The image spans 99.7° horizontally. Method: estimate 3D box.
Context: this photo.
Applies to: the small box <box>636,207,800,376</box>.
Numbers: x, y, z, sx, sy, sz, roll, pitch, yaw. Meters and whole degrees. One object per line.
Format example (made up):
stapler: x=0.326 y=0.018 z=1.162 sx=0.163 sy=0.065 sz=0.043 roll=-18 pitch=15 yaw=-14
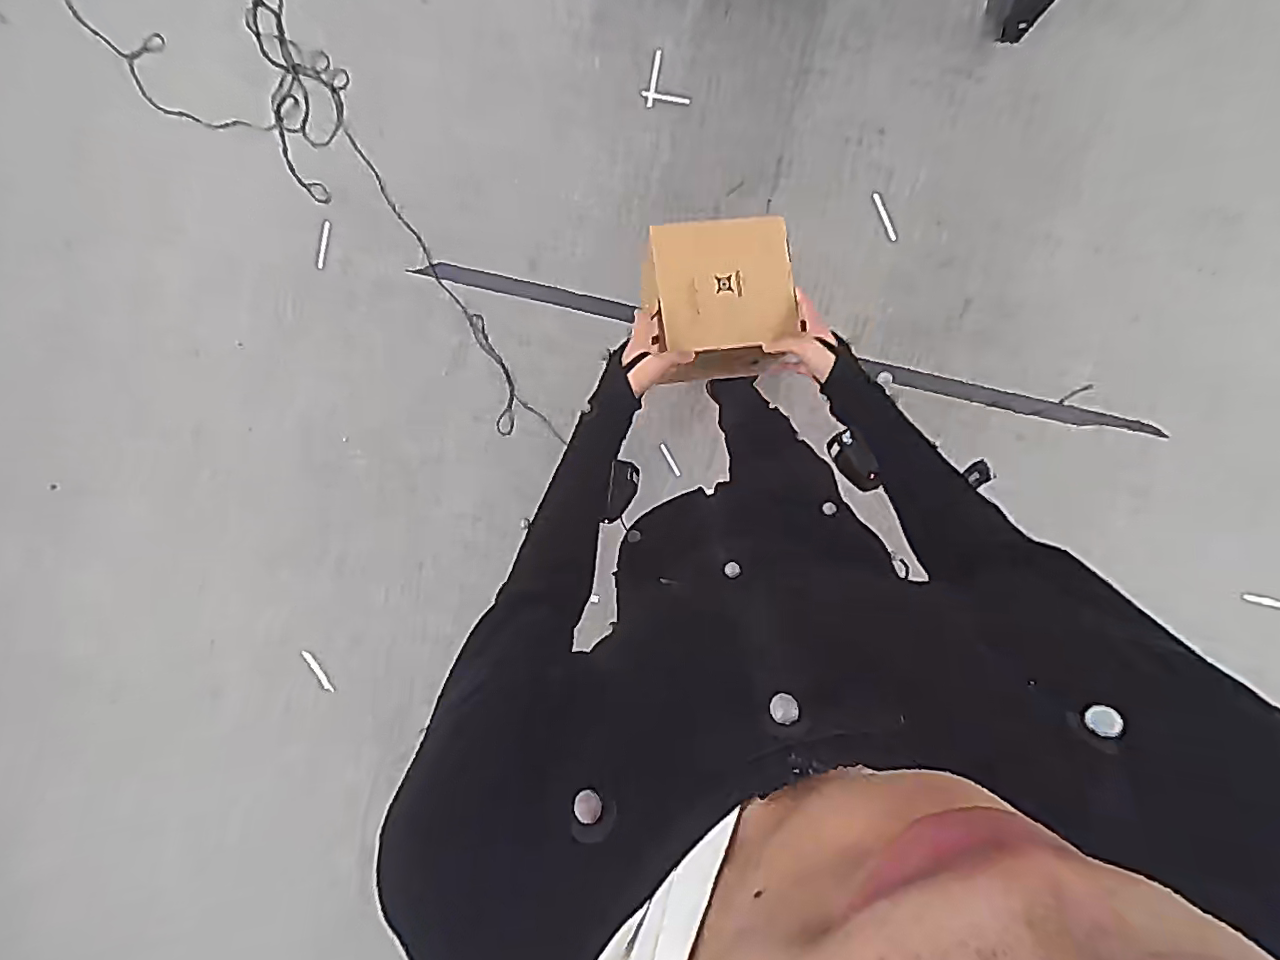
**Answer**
small box: x=0.097 y=-0.249 z=0.746 sx=0.179 sy=0.176 sz=0.168 roll=-7 pitch=86 yaw=-6
